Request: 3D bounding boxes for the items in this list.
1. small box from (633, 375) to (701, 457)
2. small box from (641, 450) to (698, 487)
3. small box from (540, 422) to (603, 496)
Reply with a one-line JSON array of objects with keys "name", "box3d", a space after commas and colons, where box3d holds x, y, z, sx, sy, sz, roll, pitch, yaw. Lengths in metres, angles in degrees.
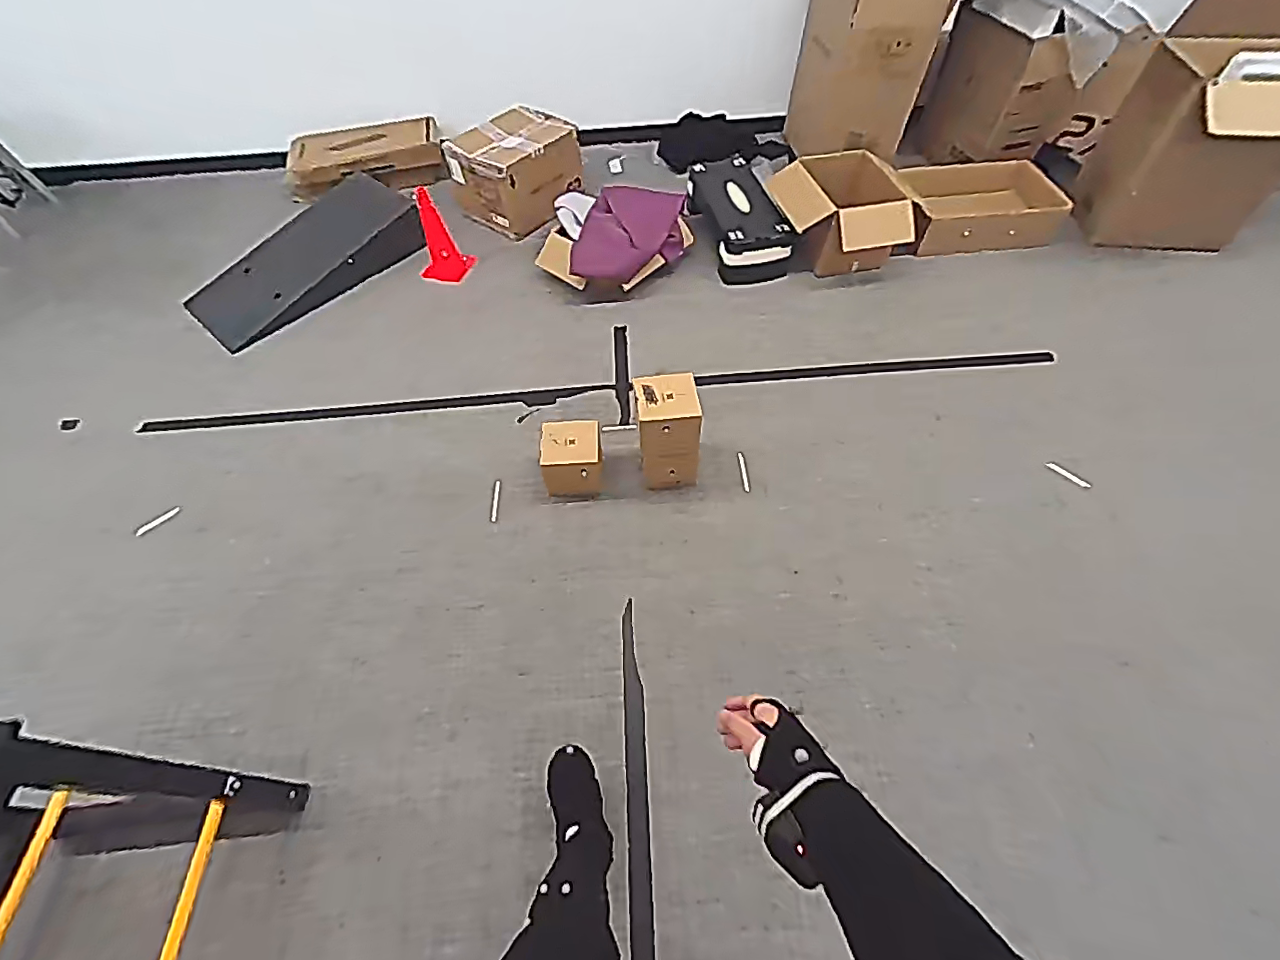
[{"name": "small box", "box3d": [0.076, -0.181, 1.568, 0.179, 0.176, 0.168, -6, 55, -3]}, {"name": "small box", "box3d": [0.088, -0.090, 1.707, 0.168, 0.176, 0.179, -6, 56, -2]}, {"name": "small box", "box3d": [-0.209, -0.062, 1.696, 0.179, 0.176, 0.168, -4, 55, 1]}]
